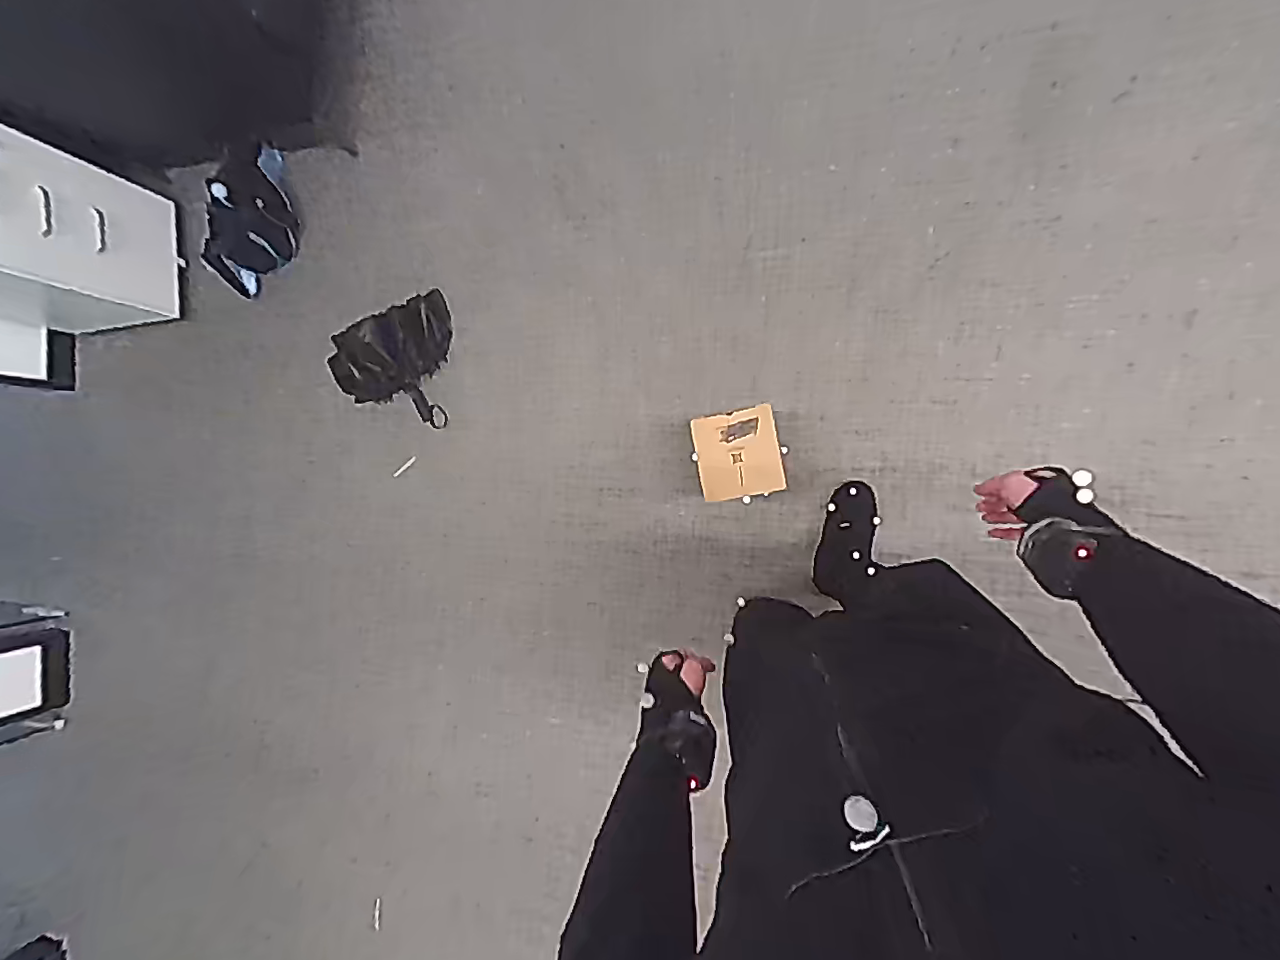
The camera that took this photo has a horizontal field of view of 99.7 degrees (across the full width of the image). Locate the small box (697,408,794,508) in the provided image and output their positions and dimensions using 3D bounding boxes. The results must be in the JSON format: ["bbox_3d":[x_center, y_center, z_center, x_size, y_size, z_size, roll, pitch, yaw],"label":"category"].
[{"bbox_3d":[0.226,-0.043,1.146,0.168,0.176,0.179,-11,88,16],"label":"small box"}]
